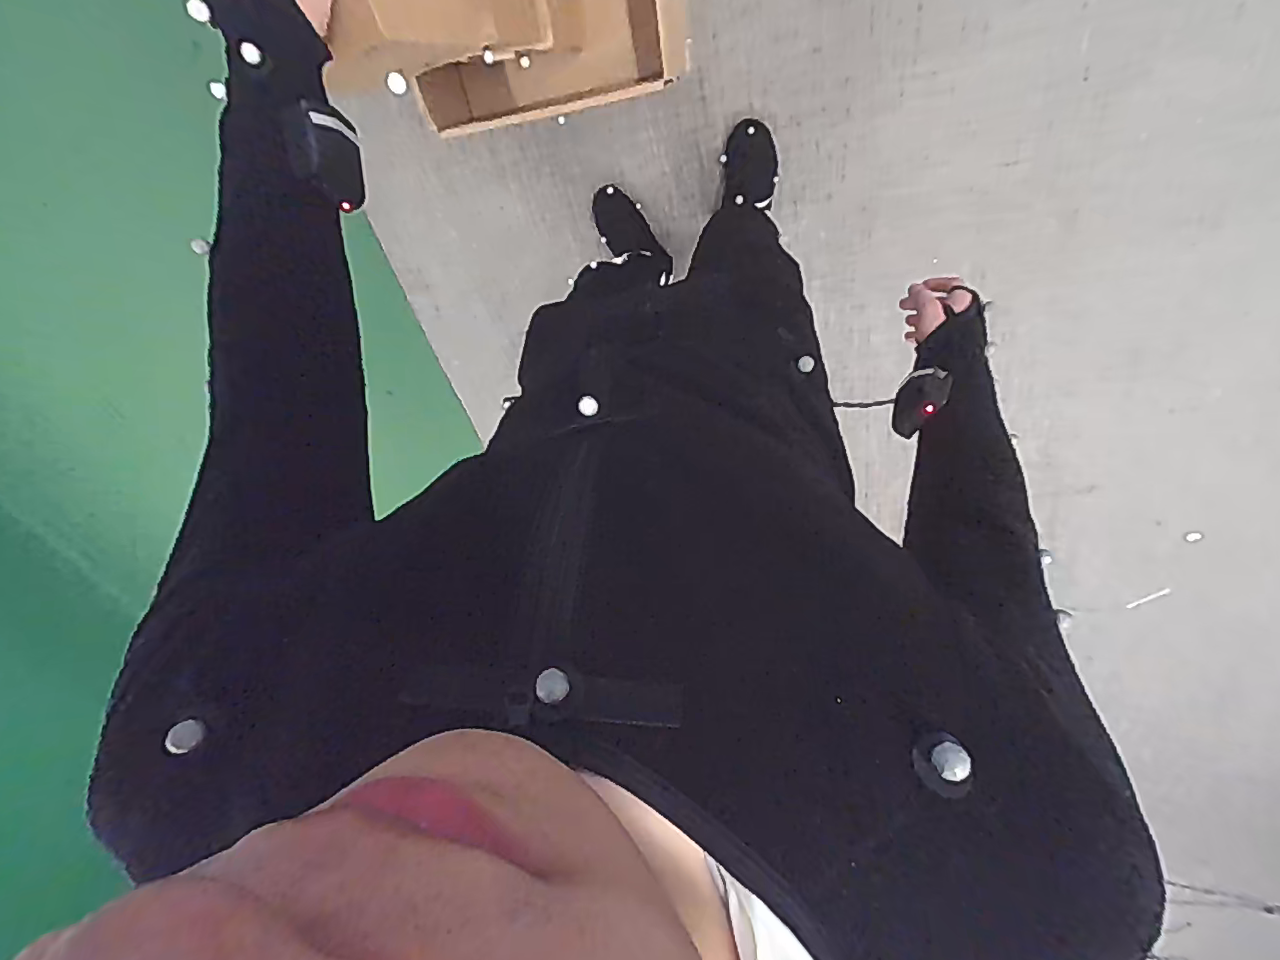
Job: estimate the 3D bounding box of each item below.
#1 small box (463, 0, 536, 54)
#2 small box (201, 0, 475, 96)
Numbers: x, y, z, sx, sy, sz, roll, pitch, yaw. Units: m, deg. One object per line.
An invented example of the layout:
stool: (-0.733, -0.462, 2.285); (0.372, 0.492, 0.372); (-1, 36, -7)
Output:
small box: (-0.235, -0.610, 0.634); (0.168, 0.176, 0.179); (3, 128, 11)
small box: (-0.287, -0.479, 0.499); (0.168, 0.176, 0.179); (-2, 125, 21)
